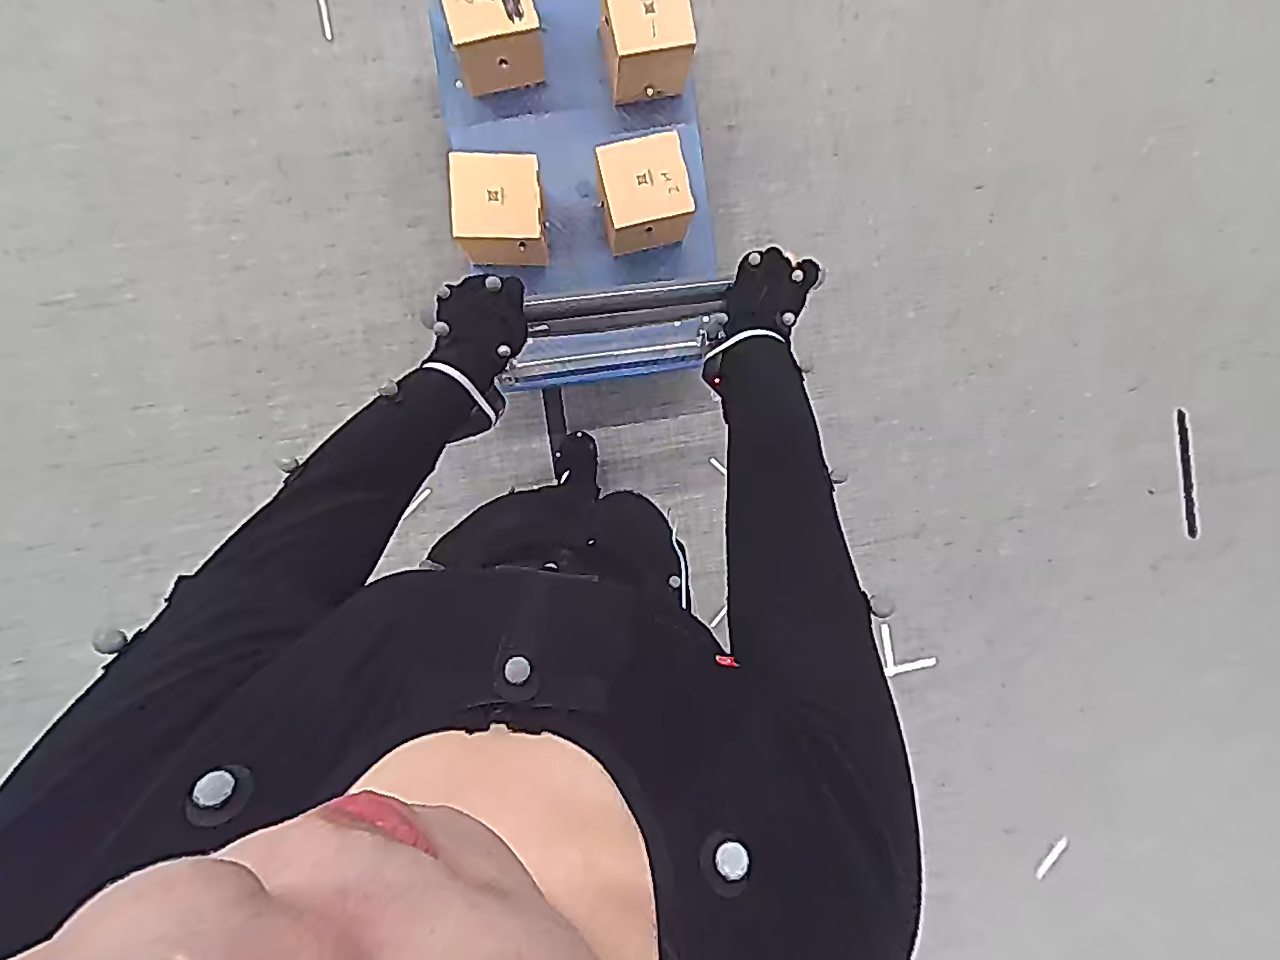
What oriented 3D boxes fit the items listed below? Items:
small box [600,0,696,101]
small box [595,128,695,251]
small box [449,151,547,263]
[{"bbox_3d":[0.010,-0.955,1.147,0.168,0.176,0.179,-12,96,-4],"label":"small box"},{"bbox_3d":[0.007,-0.619,1.173,0.179,0.176,0.168,-14,95,-3],"label":"small box"},{"bbox_3d":[-0.294,-0.573,1.153,0.179,0.176,0.168,-2,94,-6],"label":"small box"}]
